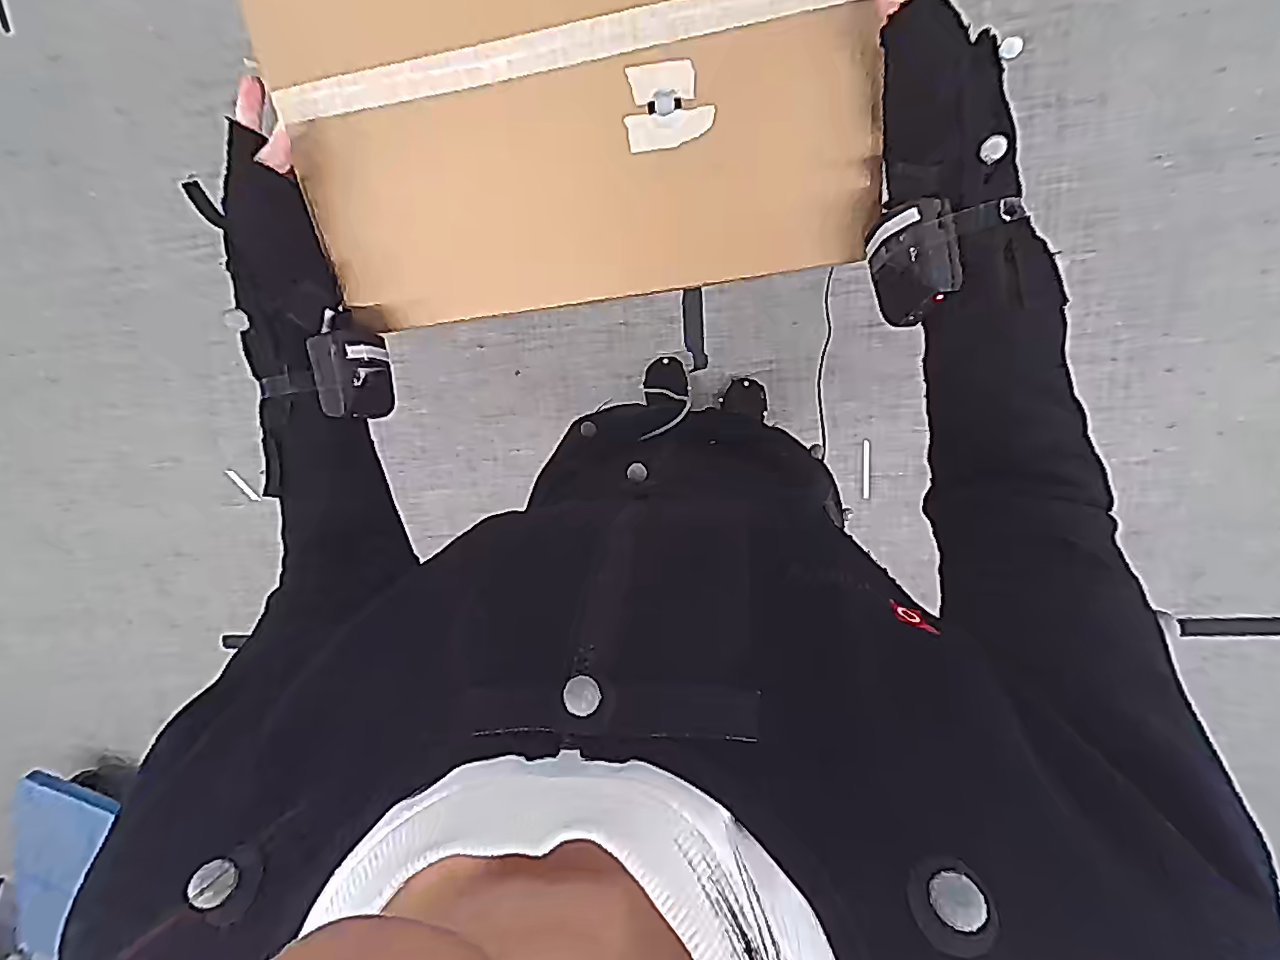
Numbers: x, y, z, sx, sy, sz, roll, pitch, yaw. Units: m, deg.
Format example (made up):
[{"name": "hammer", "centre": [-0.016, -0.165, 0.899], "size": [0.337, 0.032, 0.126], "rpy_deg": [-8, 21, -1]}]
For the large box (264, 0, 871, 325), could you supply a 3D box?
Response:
[{"name": "large box", "centre": [-0.043, -0.345, 0.504], "size": [0.408, 0.320, 0.320], "rpy_deg": [-7, 111, 7]}]
